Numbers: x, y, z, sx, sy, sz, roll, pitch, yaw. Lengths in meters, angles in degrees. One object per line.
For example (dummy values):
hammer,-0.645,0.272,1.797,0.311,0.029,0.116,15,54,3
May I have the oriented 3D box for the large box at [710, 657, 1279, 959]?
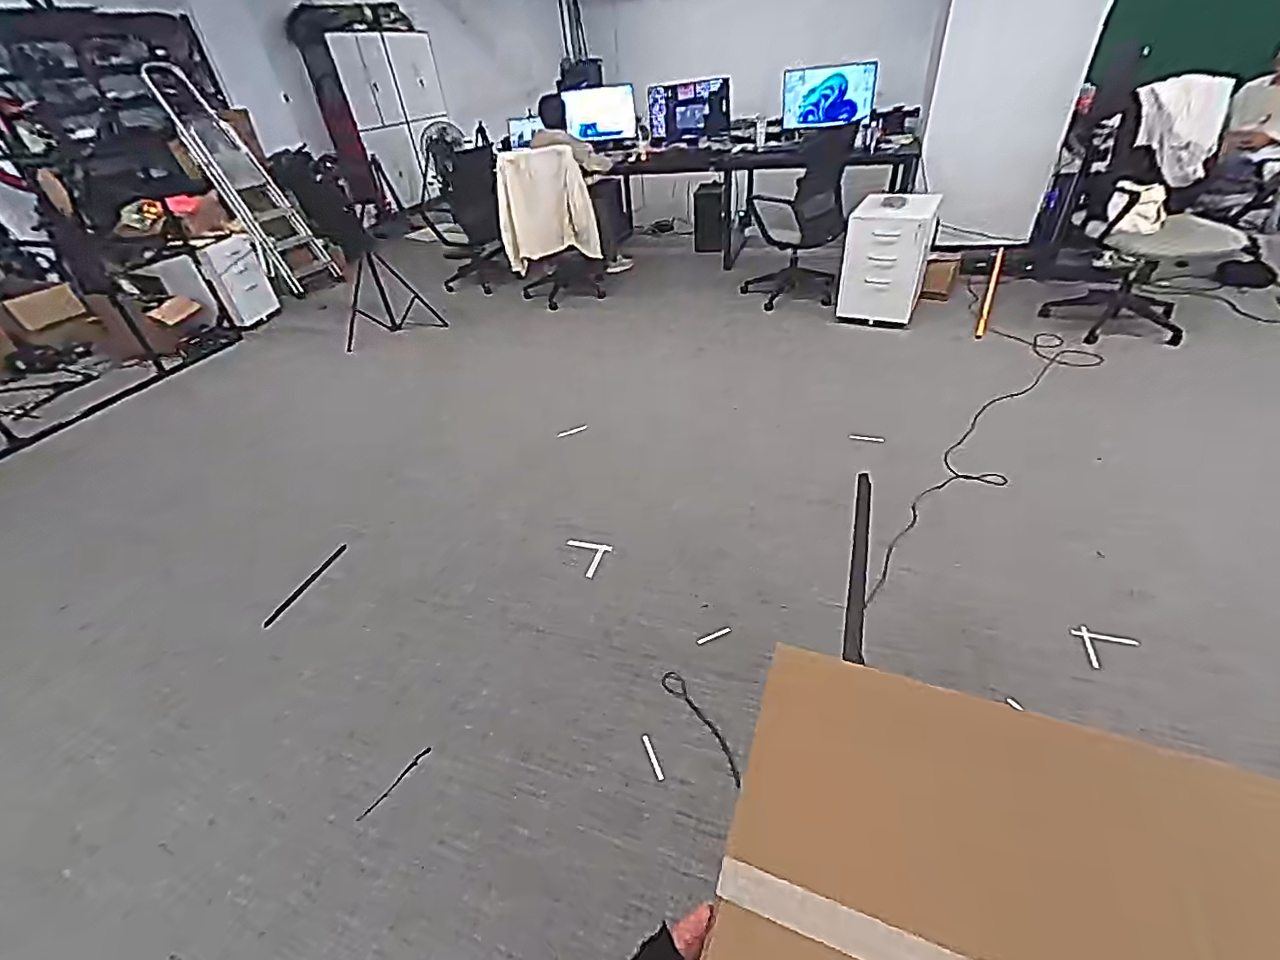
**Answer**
large box,0.265,0.376,0.379,0.408,0.320,0.320,10,54,22
